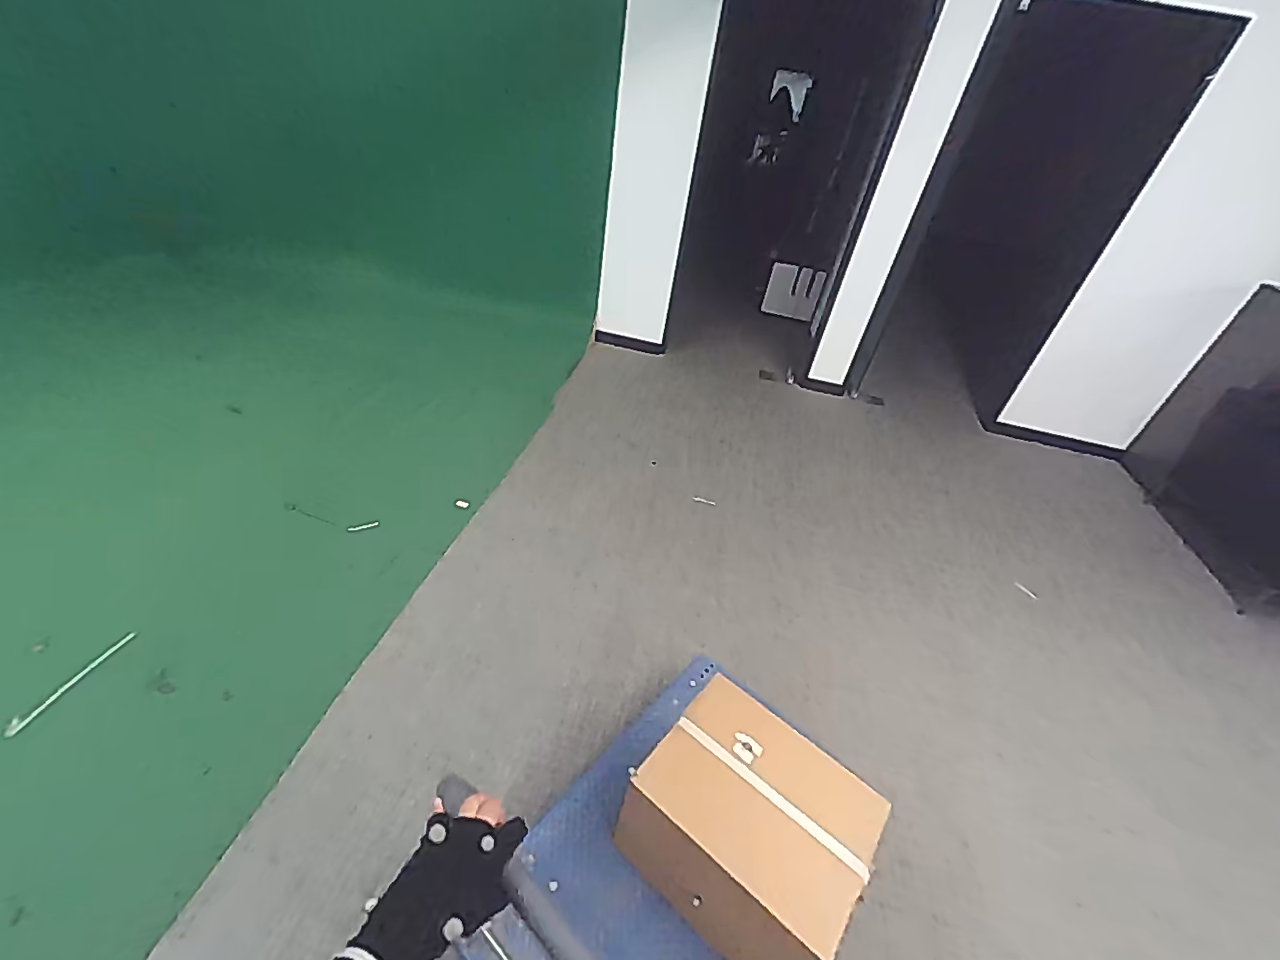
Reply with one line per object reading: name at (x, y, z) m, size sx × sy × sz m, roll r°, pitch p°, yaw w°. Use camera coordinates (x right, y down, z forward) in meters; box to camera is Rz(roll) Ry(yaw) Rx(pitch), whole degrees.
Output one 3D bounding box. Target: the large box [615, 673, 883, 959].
large box at (0.205, 0.698, 1.109) m, size 0.408 × 0.320 × 0.320 m, roll 31°, pitch 41°, yaw 27°
